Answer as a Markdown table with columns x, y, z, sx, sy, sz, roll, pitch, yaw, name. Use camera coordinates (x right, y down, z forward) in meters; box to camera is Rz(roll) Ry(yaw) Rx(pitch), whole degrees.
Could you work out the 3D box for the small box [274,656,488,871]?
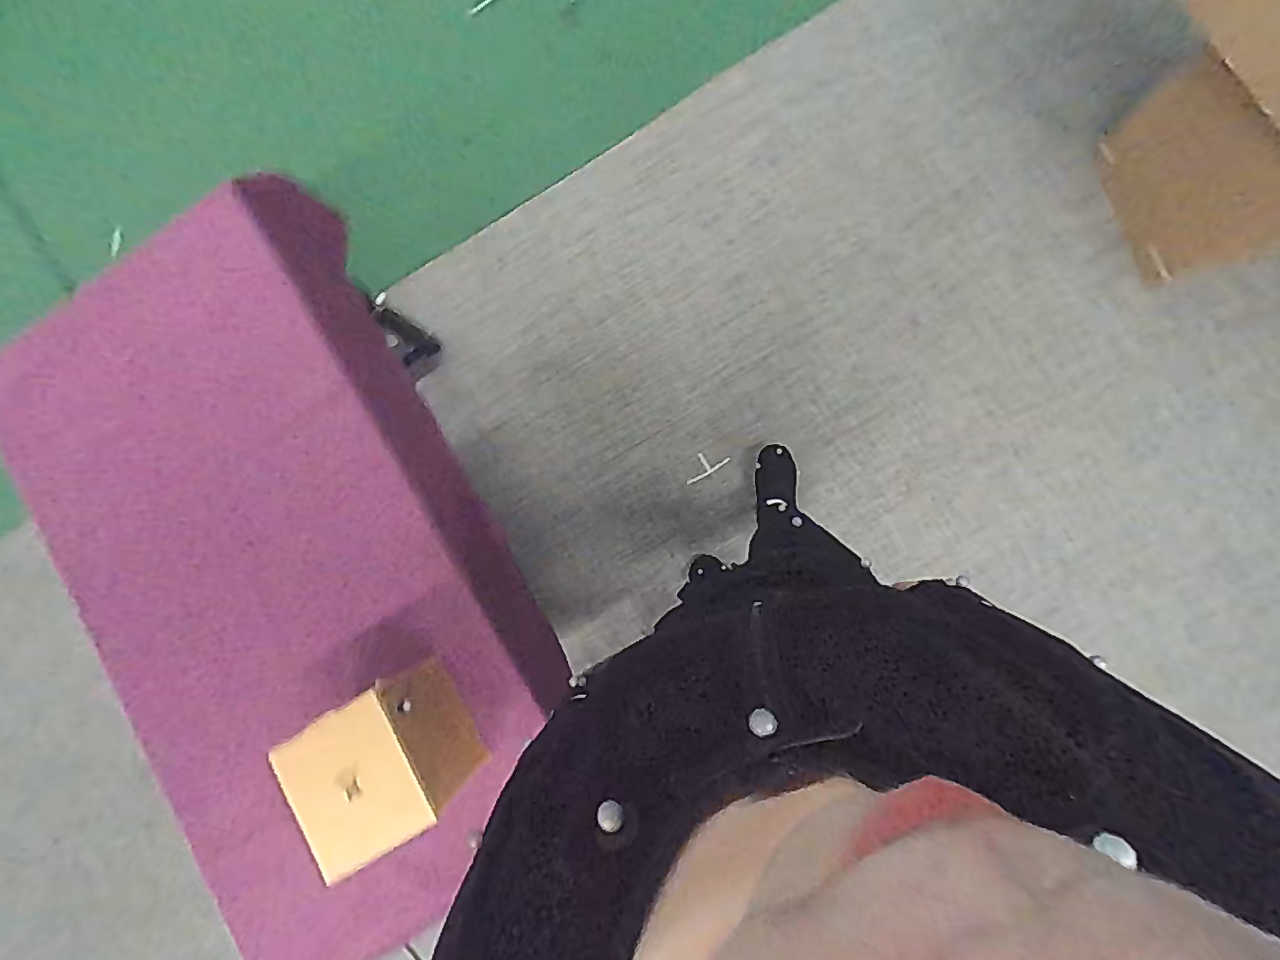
| x | y | z | sx | sy | sz | roll | pitch | yaw | name |
| --- | --- | --- | --- | --- | --- | --- | --- | --- | --- |
| -0.342 | 0.372 | 0.746 | 0.168 | 0.176 | 0.179 | -32 | 82 | 5 | small box |
